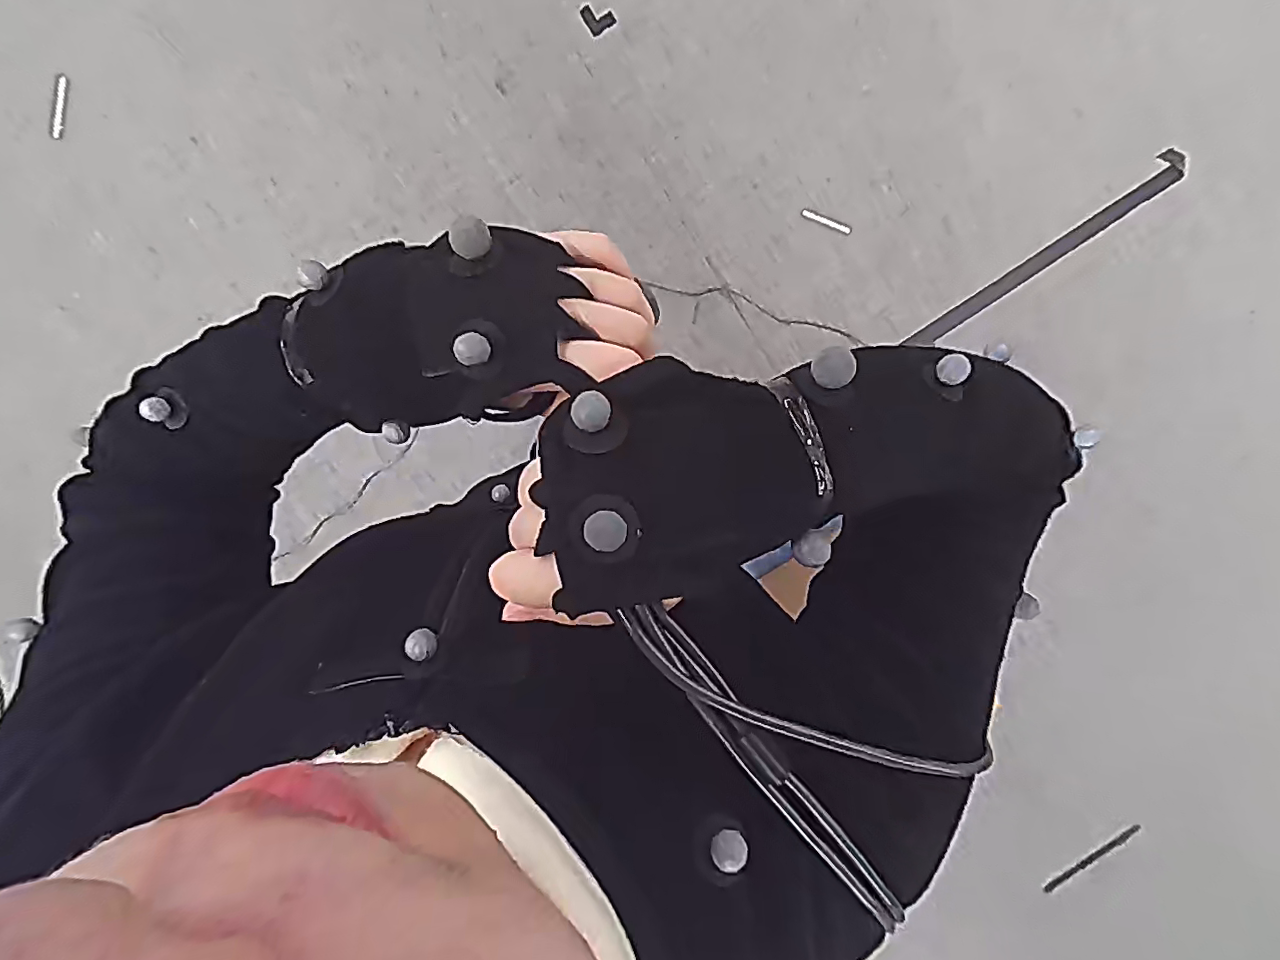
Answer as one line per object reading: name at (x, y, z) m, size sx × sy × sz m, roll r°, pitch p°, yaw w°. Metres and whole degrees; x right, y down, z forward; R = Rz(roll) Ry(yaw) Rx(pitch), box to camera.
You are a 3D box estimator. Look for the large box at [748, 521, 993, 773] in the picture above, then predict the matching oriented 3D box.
large box at (0.515, 0.366, 1.272) m, size 0.320 × 0.320 × 0.408 m, roll -31°, pitch 101°, yaw 1°
